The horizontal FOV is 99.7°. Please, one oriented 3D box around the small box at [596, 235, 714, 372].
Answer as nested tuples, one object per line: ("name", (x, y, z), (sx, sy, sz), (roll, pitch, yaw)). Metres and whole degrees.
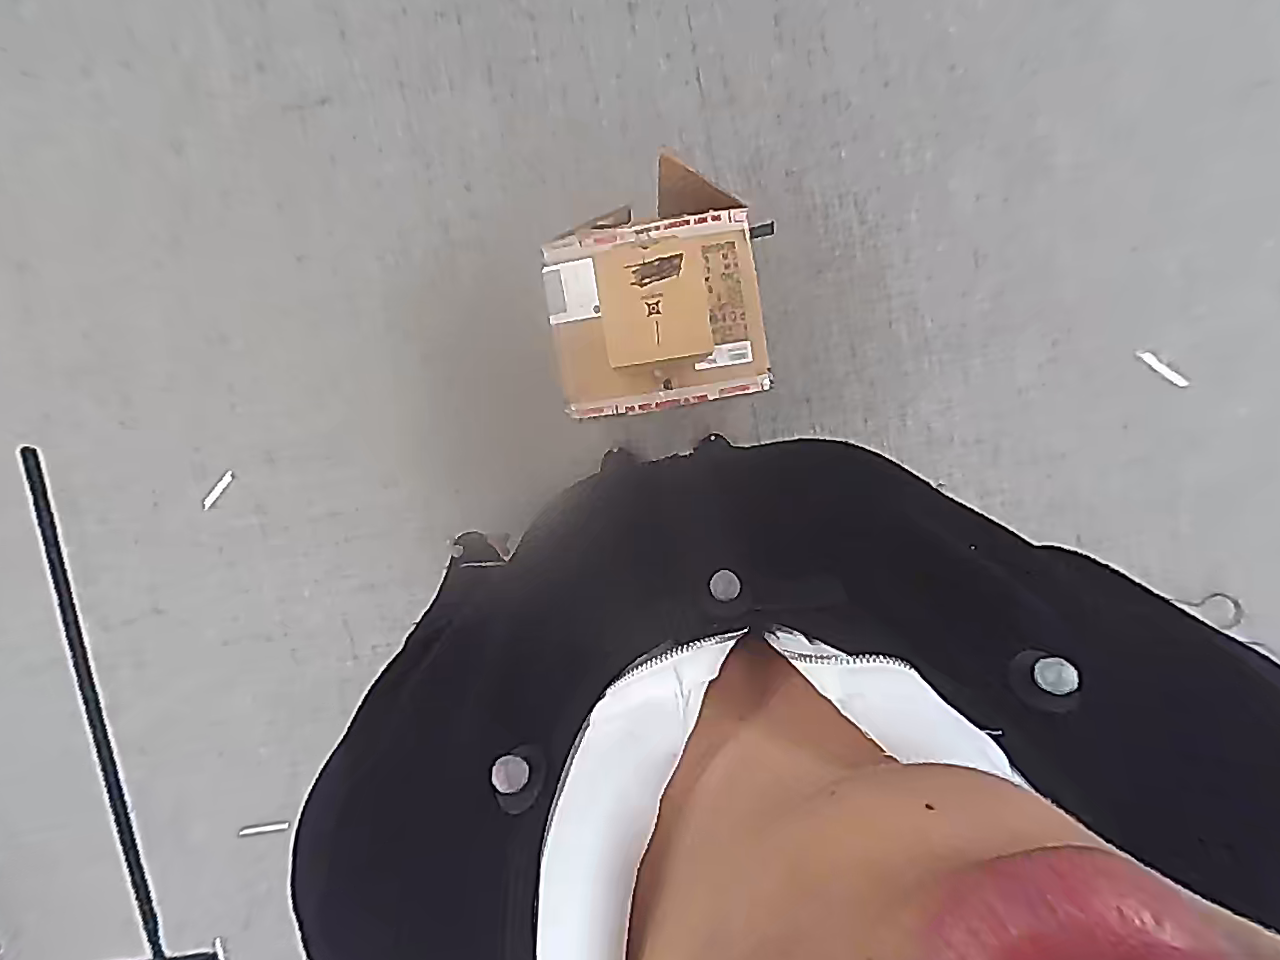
("small box", (0.025, -0.283, 0.905), (0.168, 0.176, 0.179), (-8, 98, 3))
